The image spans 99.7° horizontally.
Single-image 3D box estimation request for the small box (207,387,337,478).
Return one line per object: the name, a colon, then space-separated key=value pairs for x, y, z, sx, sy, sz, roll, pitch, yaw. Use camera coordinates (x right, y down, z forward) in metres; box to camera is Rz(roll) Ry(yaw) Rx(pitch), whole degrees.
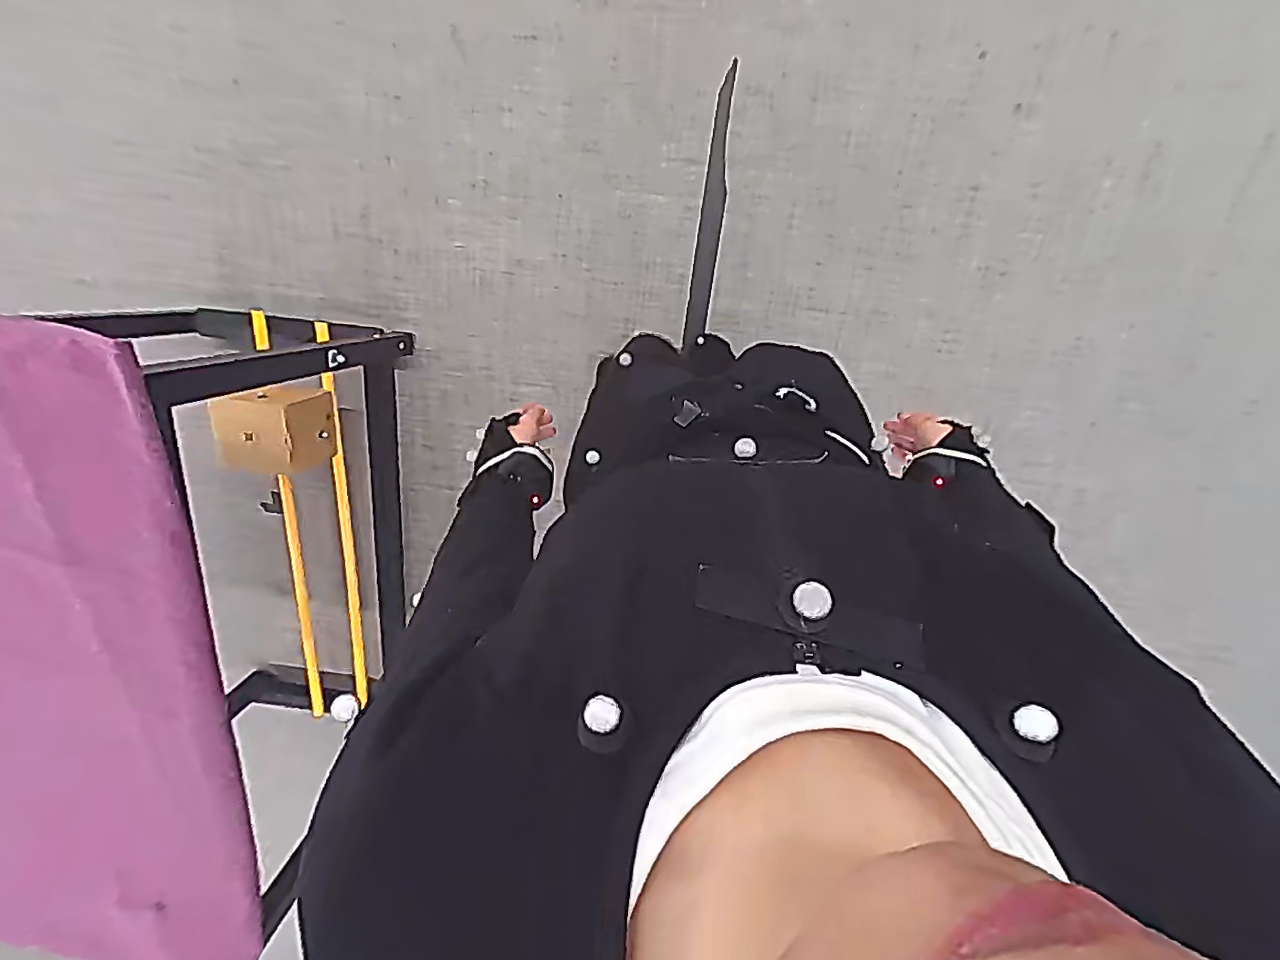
small box: x=-0.842 y=-0.117 z=1.253 sx=0.179 sy=0.176 sz=0.168 roll=7 pitch=111 yaw=2
